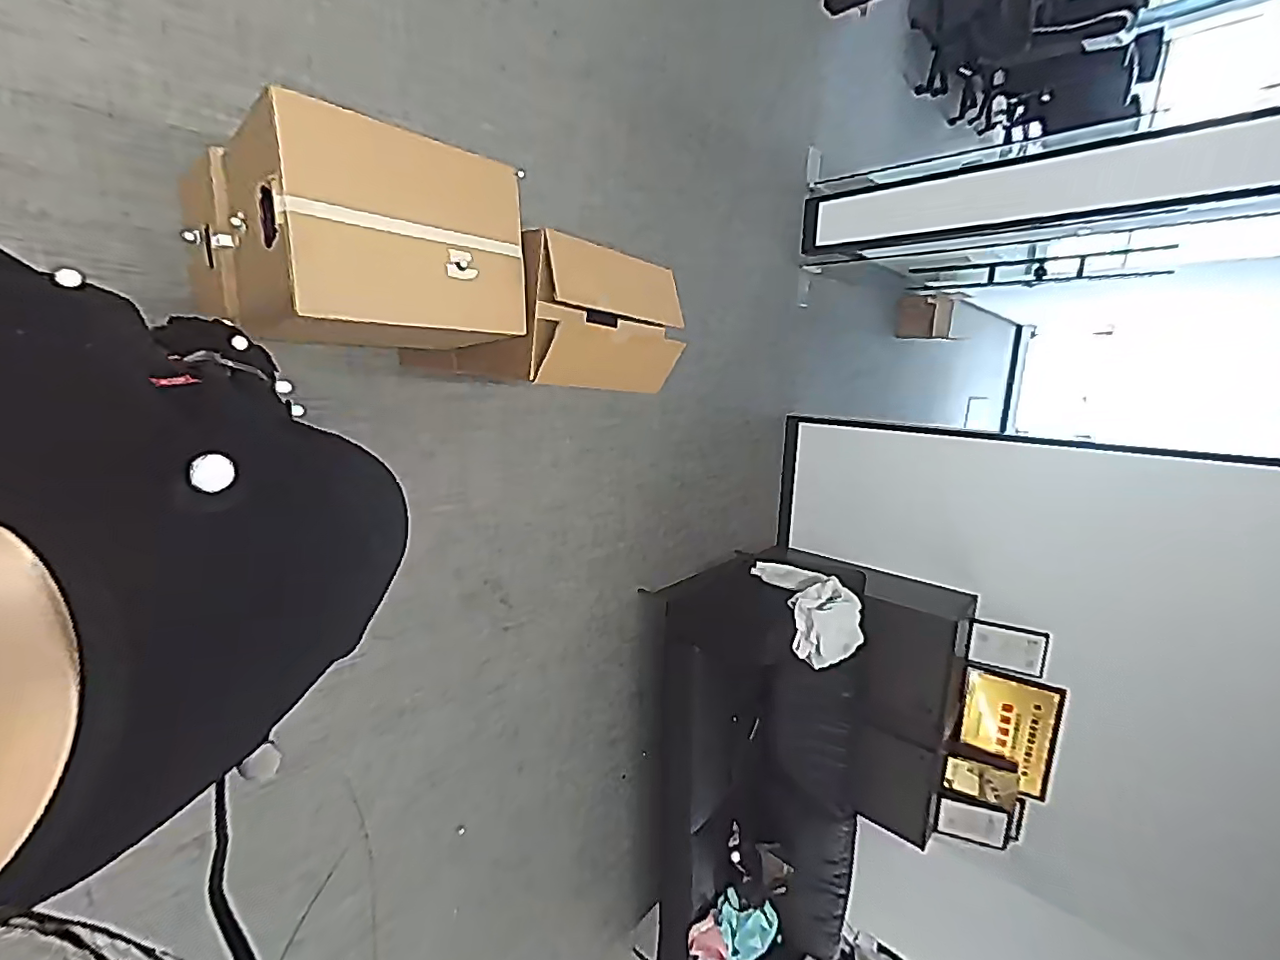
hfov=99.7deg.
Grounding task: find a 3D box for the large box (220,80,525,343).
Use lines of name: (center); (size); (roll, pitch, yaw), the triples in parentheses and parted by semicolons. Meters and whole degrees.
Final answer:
large box: (-0.473, -0.431, 0.992); (0.408, 0.320, 0.320); (-10, 103, -47)
